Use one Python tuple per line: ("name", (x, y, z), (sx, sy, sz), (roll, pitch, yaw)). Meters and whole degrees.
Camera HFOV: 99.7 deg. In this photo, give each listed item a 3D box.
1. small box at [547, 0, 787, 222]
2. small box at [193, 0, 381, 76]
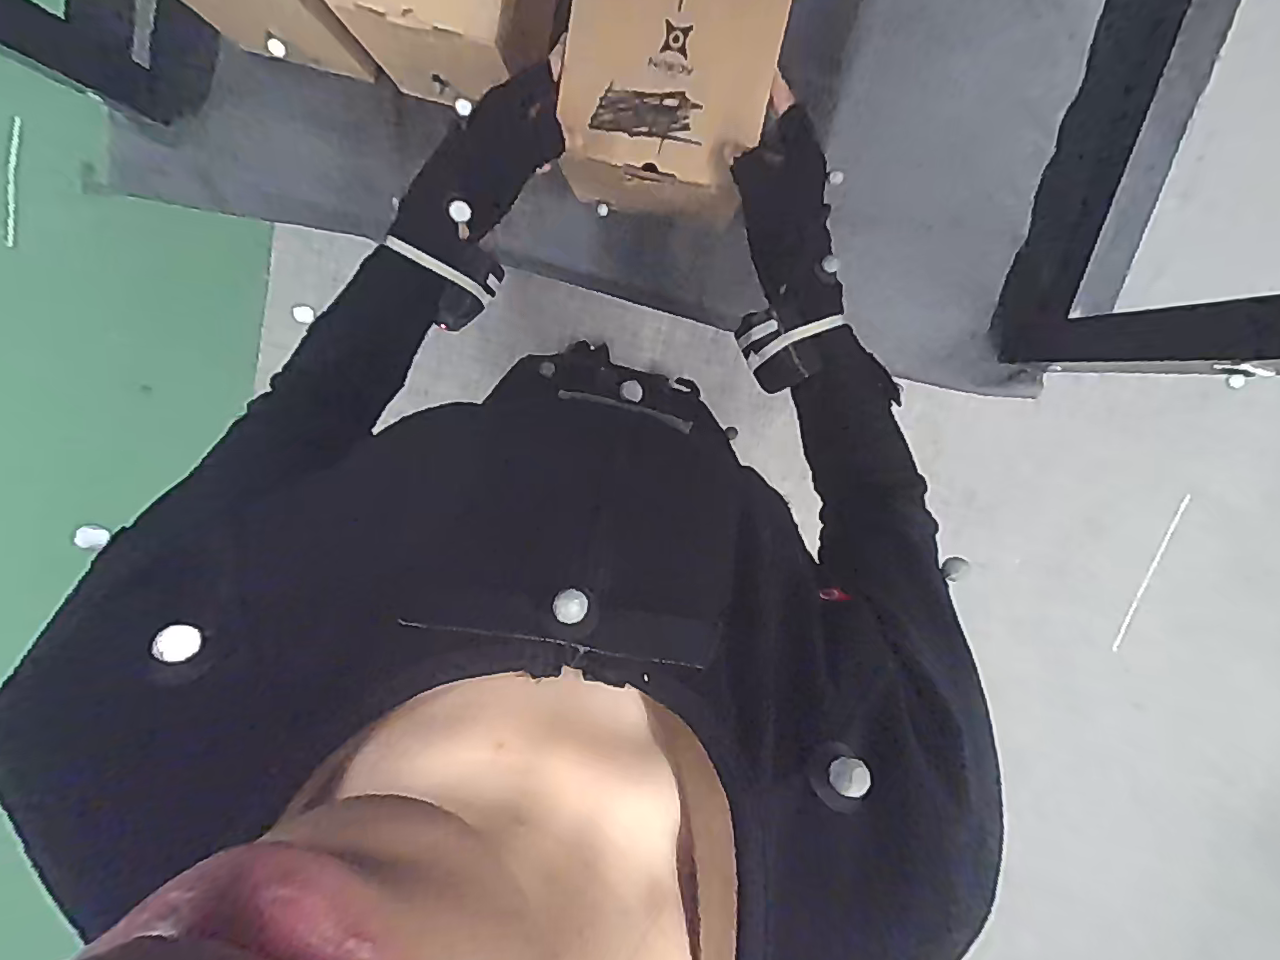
("small box", (0.024, -0.354, 0.492), (0.168, 0.176, 0.179), (12, 104, -2))
("small box", (-0.378, -0.562, 0.544), (0.168, 0.176, 0.179), (13, 101, -1))
